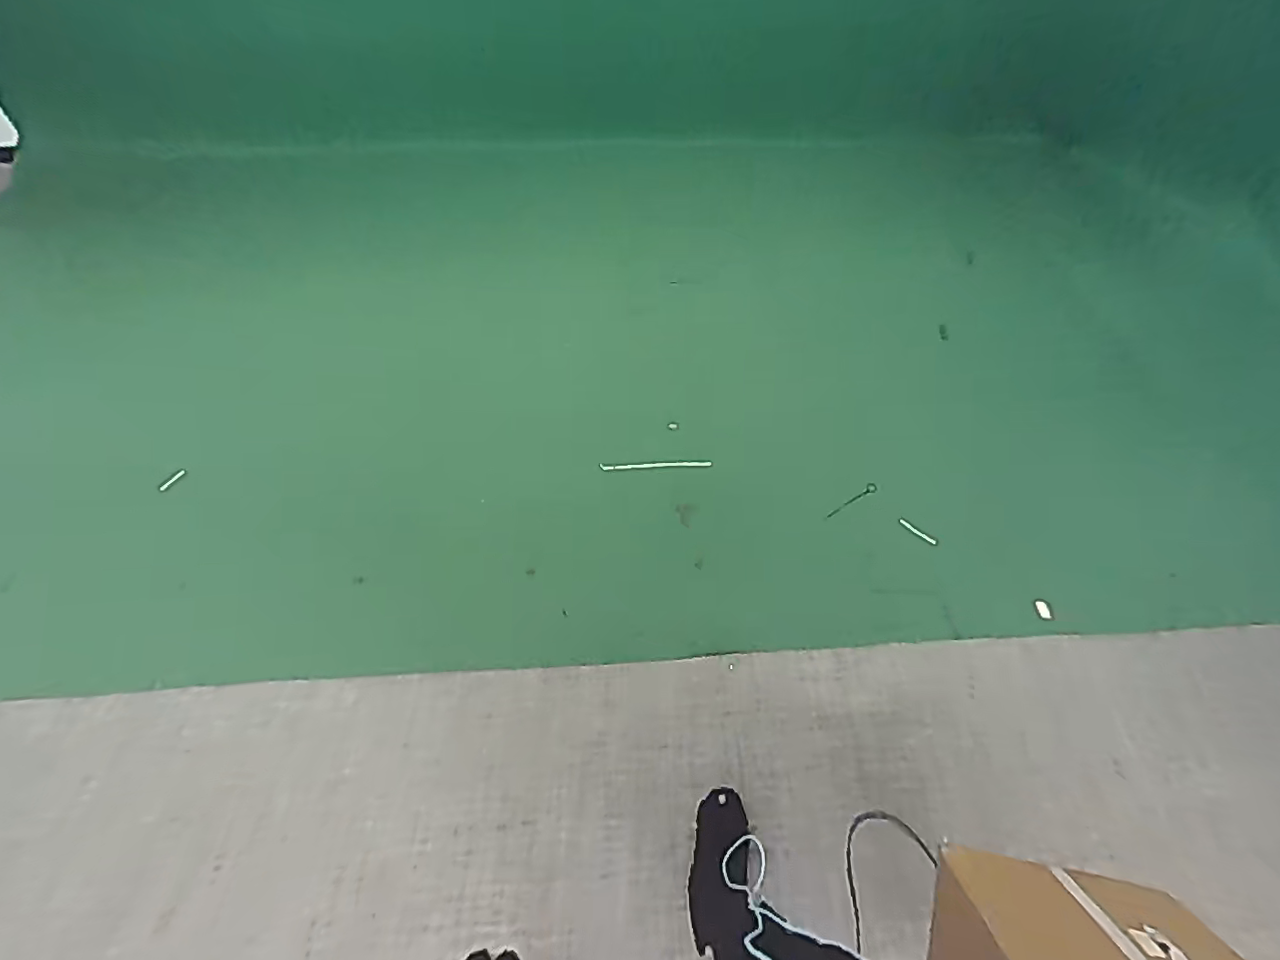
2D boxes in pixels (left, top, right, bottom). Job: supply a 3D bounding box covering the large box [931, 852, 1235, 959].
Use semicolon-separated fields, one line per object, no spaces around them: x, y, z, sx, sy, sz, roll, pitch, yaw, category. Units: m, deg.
0.560;0.722;0.602;0.320;0.408;0.320;7;88;9;large box
